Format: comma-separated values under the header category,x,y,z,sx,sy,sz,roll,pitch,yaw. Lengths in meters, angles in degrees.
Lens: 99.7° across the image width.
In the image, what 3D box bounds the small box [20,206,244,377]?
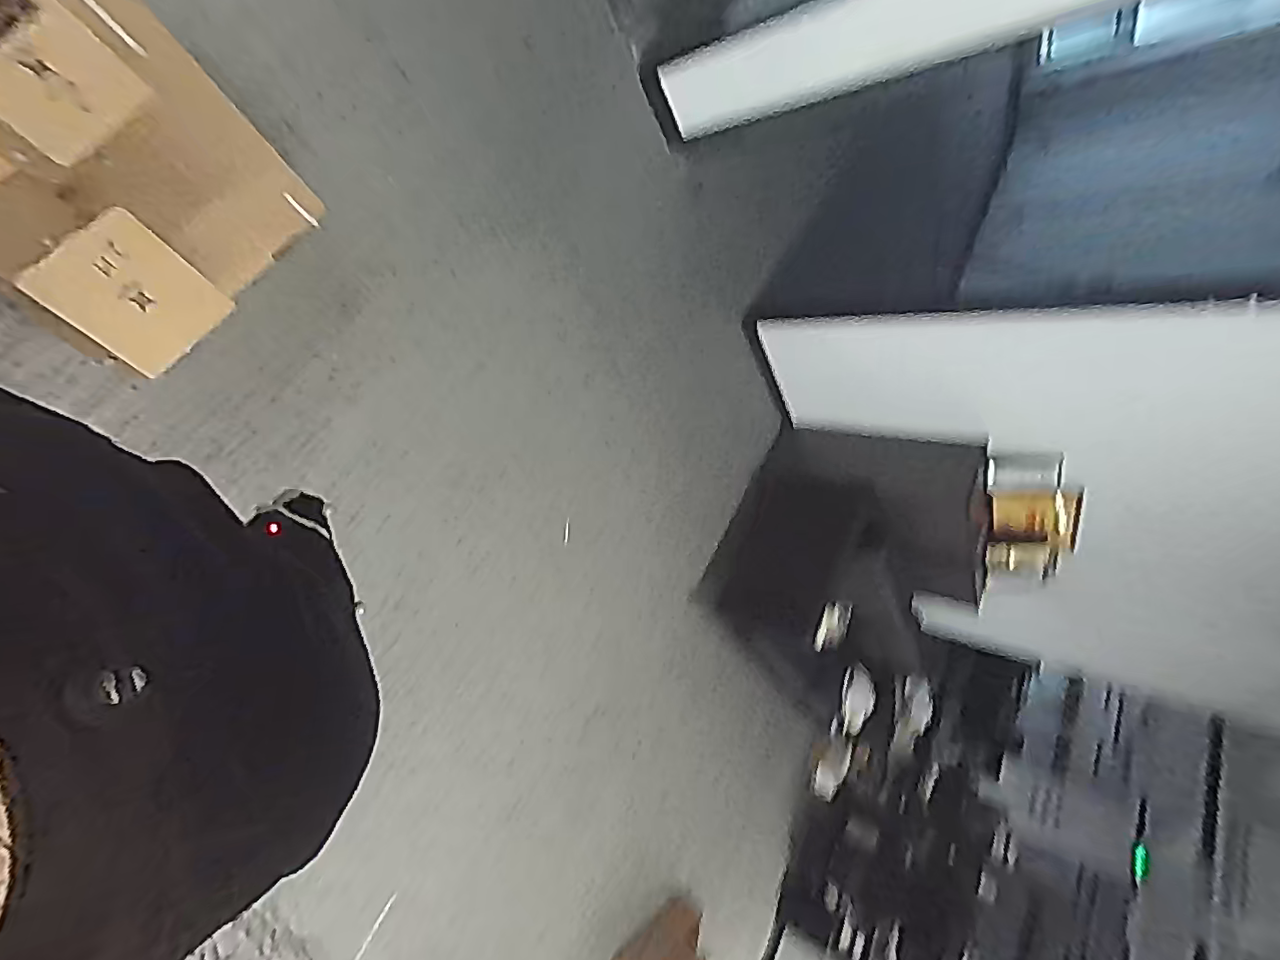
category,x,y,z,sx,sy,sz,roll,pitch,yaw
small box,-0.764,-0.280,0.820,0.168,0.176,0.179,-59,137,-23
